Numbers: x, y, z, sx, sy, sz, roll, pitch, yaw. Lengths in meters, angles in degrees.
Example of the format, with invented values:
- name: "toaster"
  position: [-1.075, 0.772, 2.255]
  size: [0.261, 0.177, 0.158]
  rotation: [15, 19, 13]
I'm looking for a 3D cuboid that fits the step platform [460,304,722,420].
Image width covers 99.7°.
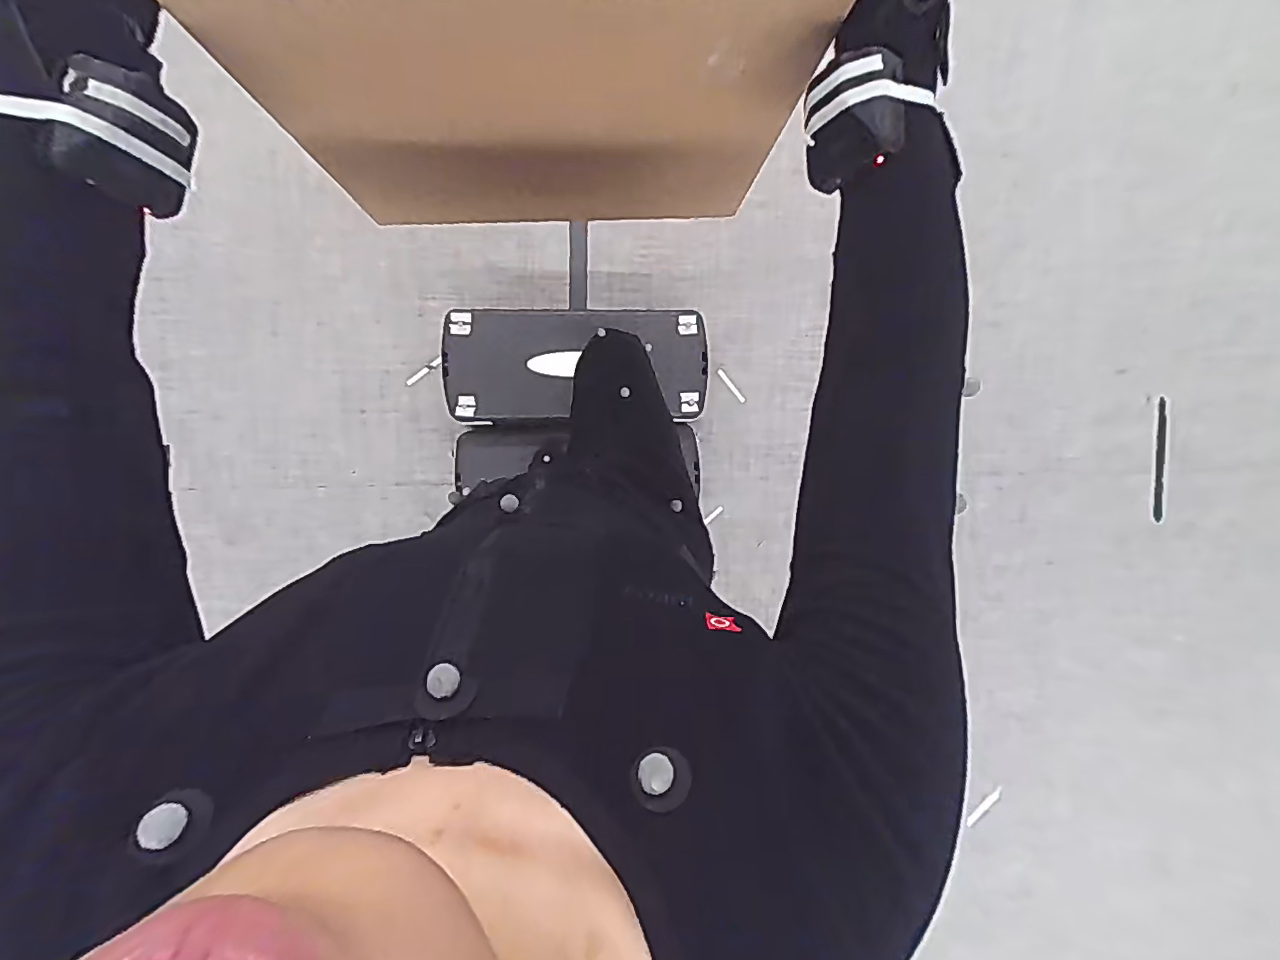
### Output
- name: "step platform"
  position: [-0.124, -0.314, 1.452]
  size: [0.684, 0.204, 0.286]
  rotation: [-2, 94, -6]

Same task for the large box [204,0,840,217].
- name: "large box"
  position: [-0.086, -0.449, 0.459]
  size: [0.408, 0.320, 0.320]
  rotation: [-4, 94, -5]
